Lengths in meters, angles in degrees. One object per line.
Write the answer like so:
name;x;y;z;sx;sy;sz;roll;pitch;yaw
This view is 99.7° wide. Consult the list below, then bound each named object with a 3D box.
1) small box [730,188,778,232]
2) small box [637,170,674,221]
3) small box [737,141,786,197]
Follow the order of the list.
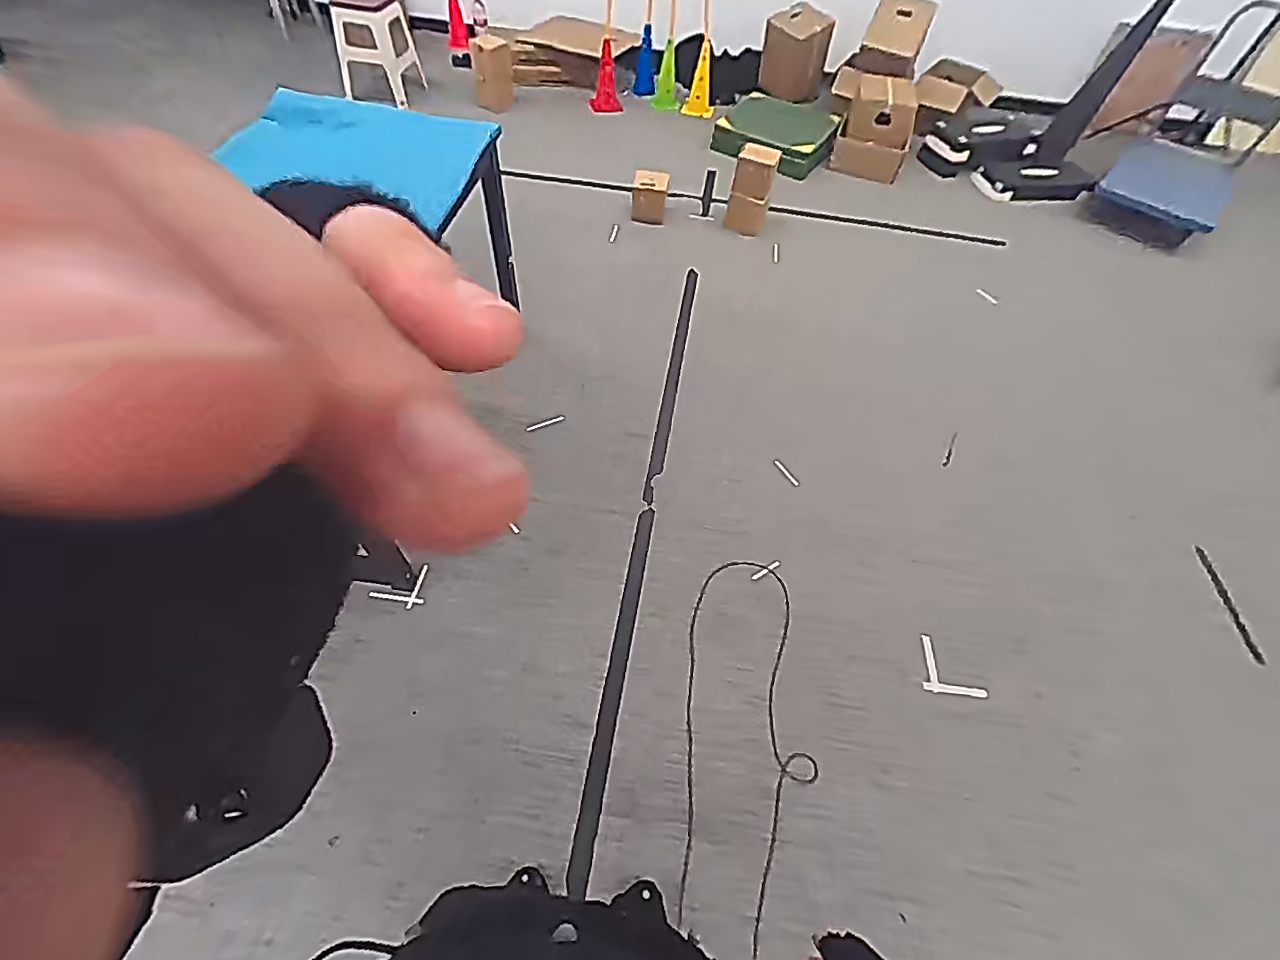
small box;0.567;-1.375;2.716;0.179;0.176;0.168;23;56;10
small box;0.076;-1.425;2.713;0.168;0.176;0.179;8;53;2
small box;0.580;-1.493;2.598;0.179;0.176;0.168;21;56;9
